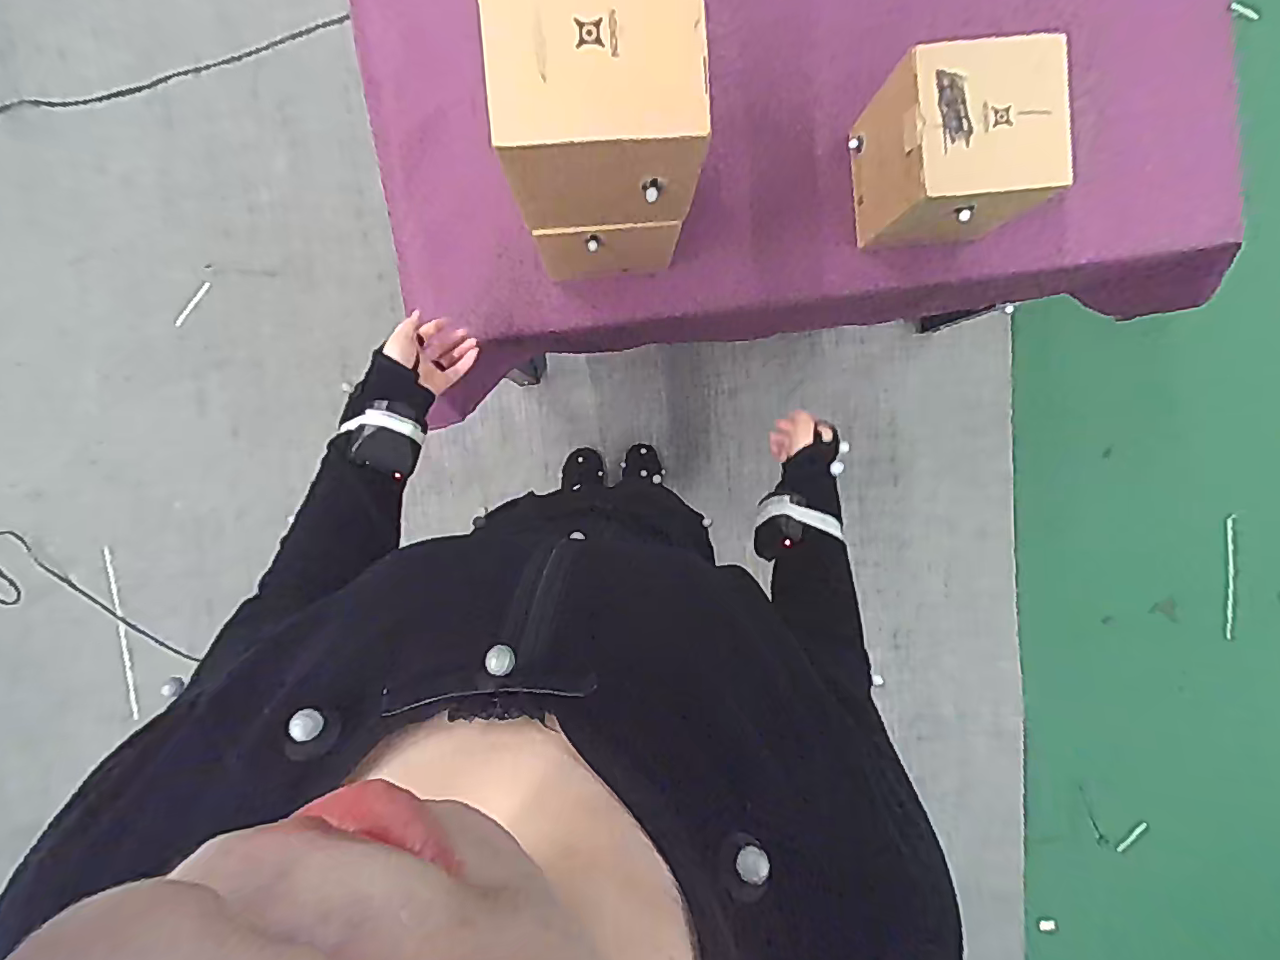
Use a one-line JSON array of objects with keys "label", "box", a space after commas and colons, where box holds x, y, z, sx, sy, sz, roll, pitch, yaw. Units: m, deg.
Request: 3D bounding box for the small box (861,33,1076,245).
[{"label": "small box", "box": [0.392, -0.408, 0.677, 0.179, 0.176, 0.168, -6, 95, -2]}]

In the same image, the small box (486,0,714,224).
[{"label": "small box", "box": [-0.035, -0.354, 0.500, 0.179, 0.176, 0.168, -4, 94, -2]}]

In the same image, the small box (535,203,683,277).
[{"label": "small box", "box": [-0.042, -0.367, 0.663, 0.168, 0.176, 0.179, -5, 94, -1]}]
